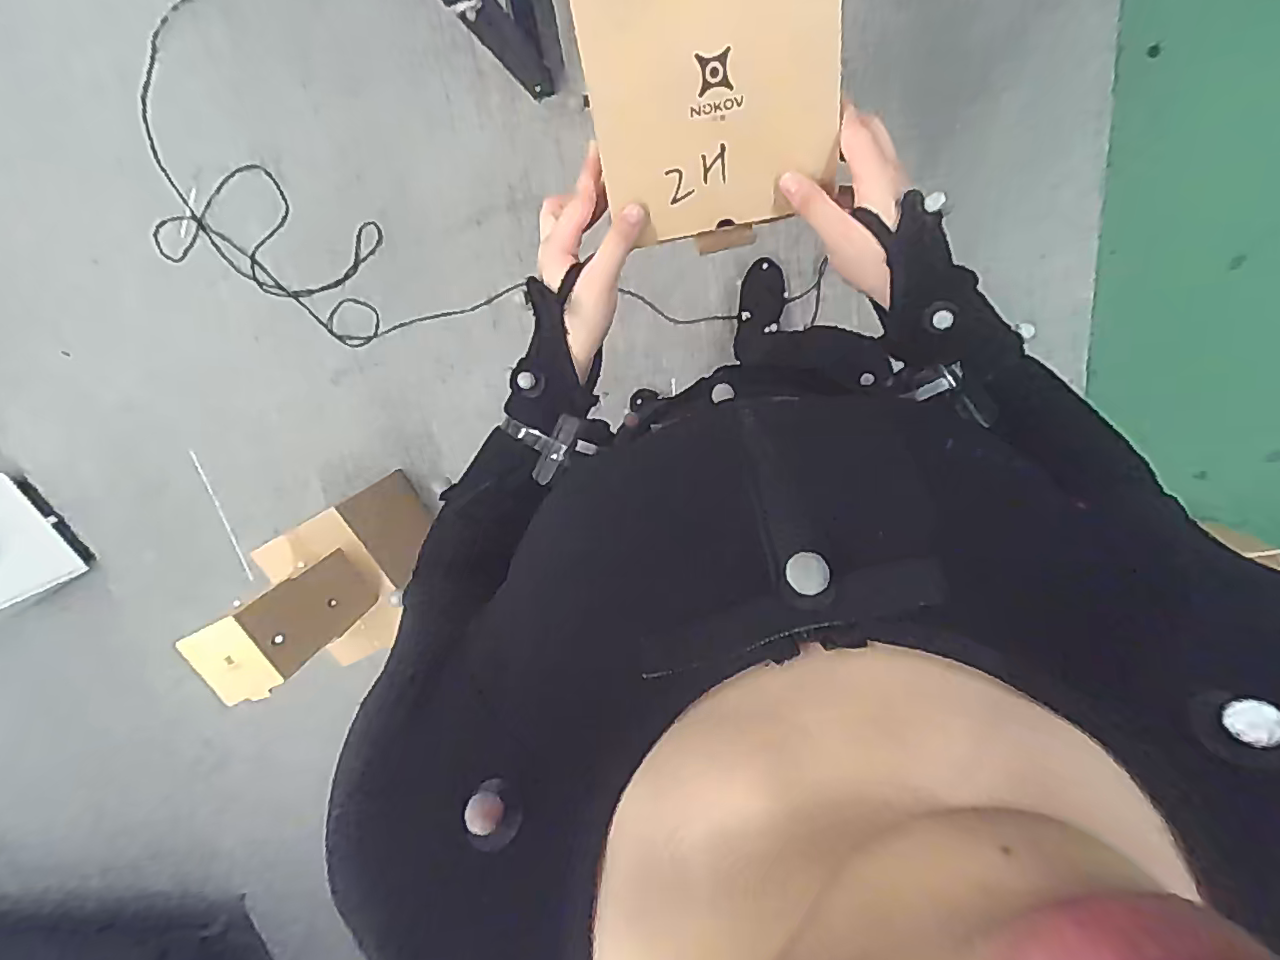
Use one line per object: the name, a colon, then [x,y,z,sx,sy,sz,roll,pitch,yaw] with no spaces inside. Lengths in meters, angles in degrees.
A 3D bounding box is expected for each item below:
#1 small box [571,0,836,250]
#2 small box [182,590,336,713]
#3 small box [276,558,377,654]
small box: [0.045,-0.299,0.426,0.168,0.176,0.179,-9,122,5]
small box: [-0.819,0.362,1.179,0.168,0.176,0.179,-25,104,13]
small box: [-0.794,0.323,1.336,0.168,0.176,0.179,-26,103,14]
